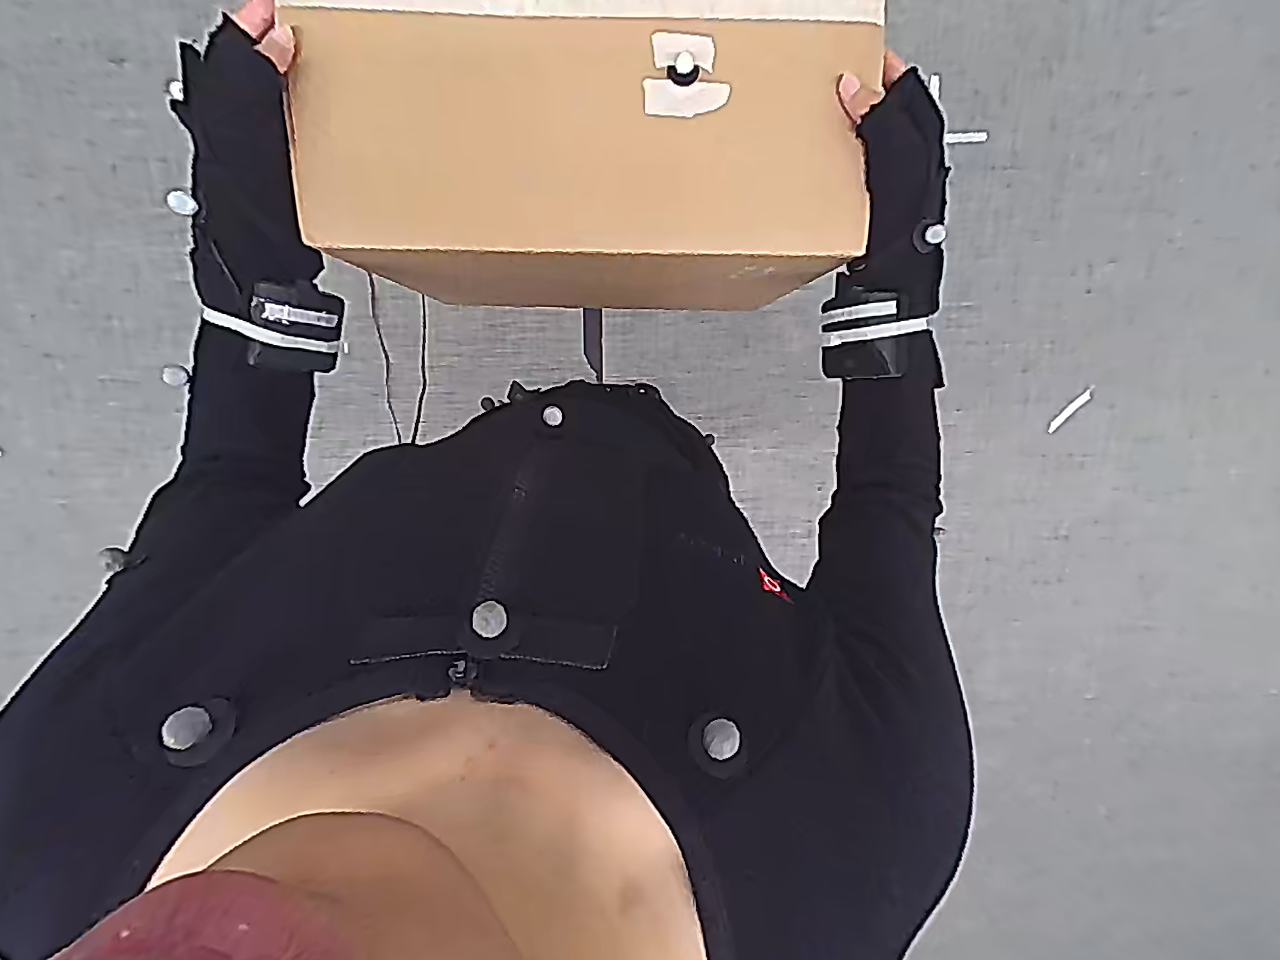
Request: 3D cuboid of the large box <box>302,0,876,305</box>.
[{"bbox_3d":[-0.039,-0.353,0.520,0.408,0.320,0.320,0,100,-2],"label":"large box"}]
